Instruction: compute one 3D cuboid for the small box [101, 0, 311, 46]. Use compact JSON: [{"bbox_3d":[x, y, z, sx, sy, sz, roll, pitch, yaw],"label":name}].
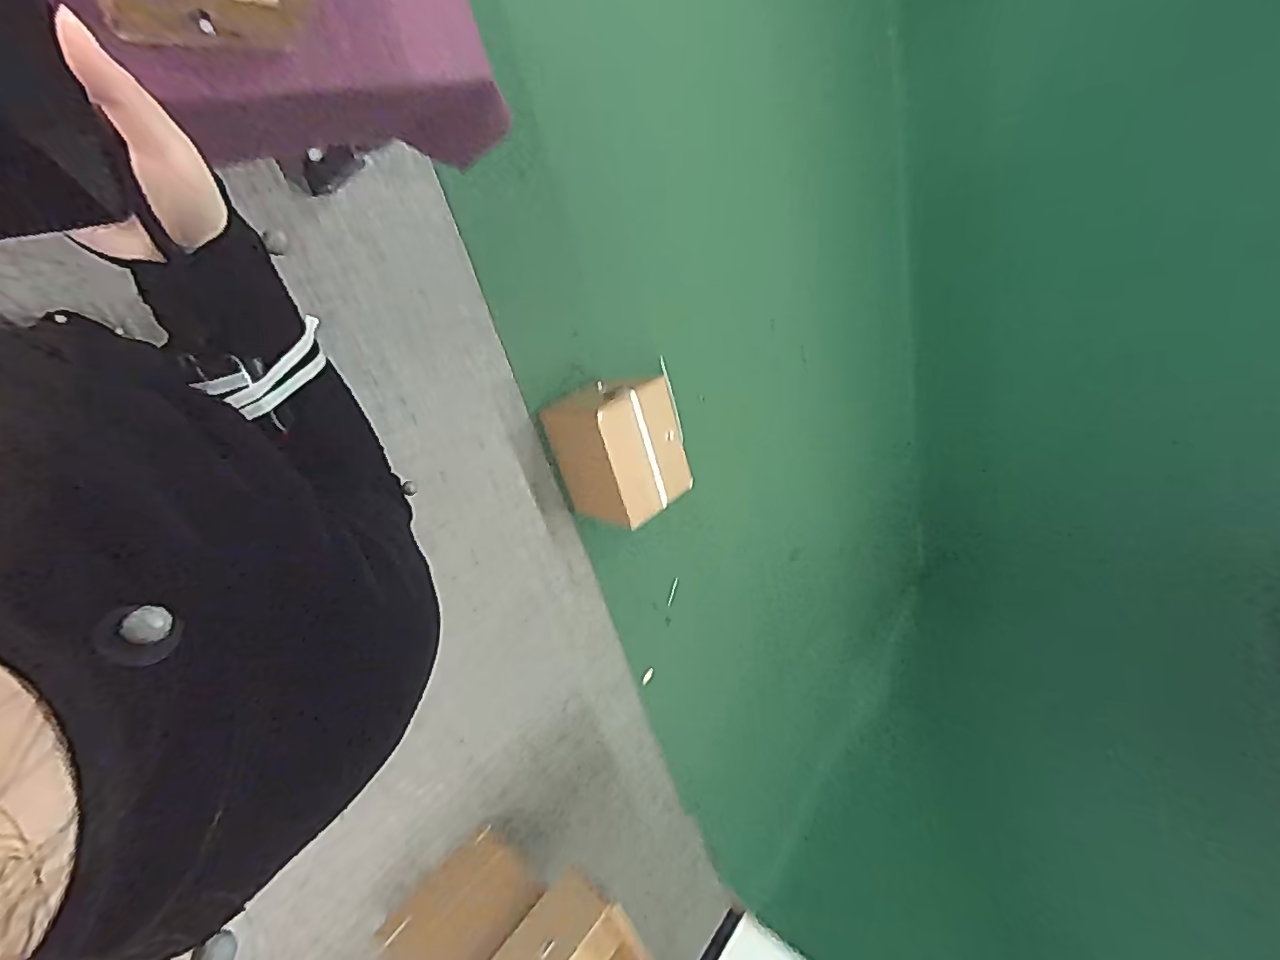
[{"bbox_3d":[-0.429,-0.545,0.496,0.168,0.176,0.179,-31,118,-36],"label":"small box"}]
